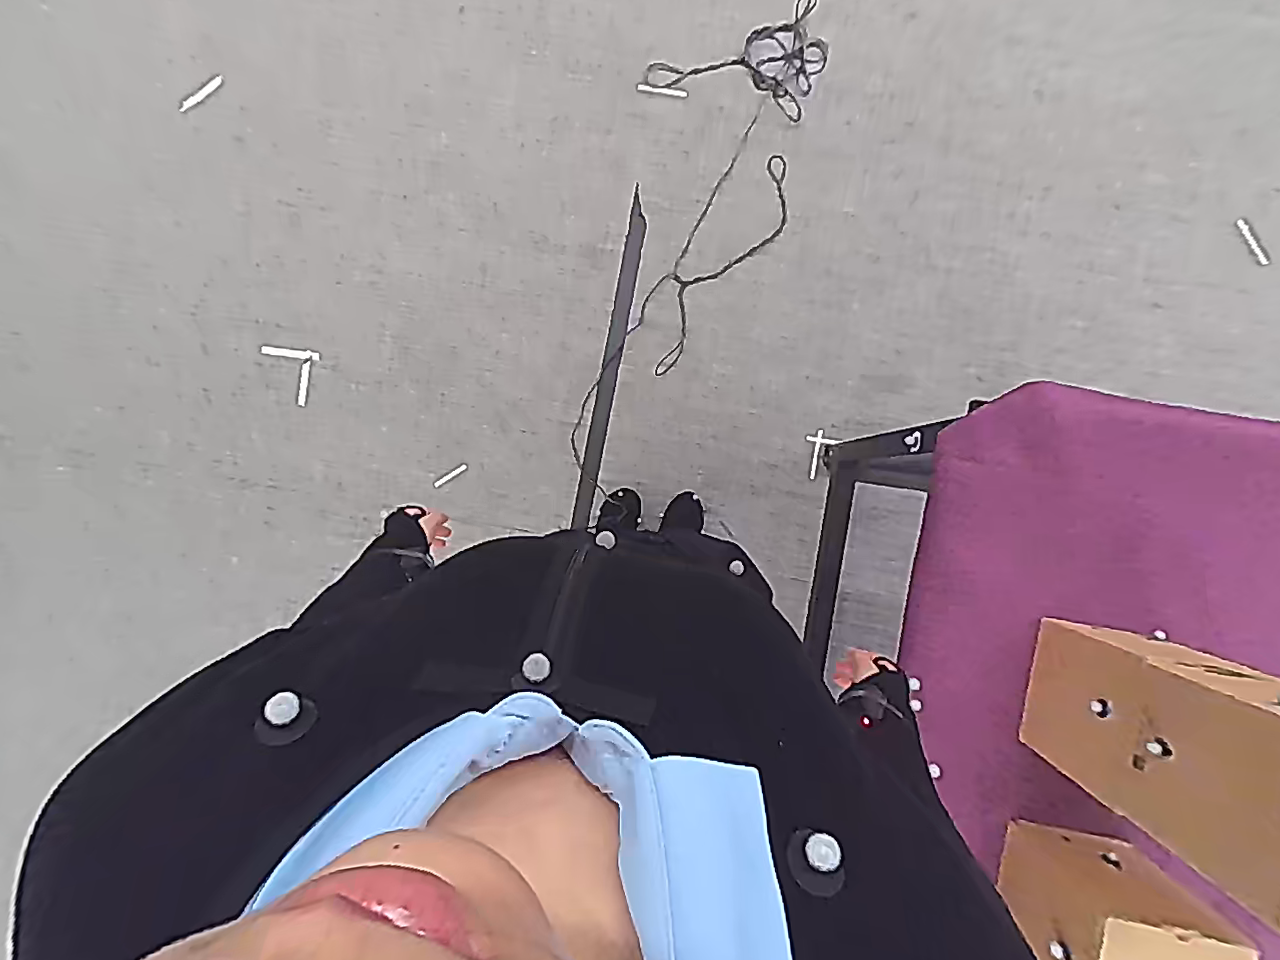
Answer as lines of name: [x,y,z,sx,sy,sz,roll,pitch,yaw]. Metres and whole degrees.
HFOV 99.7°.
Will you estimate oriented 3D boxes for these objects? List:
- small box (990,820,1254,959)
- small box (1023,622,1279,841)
small box: [0.573,0.572,0.670,0.168,0.176,0.179,11,90,2]
small box: [0.614,0.290,0.664,0.168,0.176,0.179,10,92,3]
